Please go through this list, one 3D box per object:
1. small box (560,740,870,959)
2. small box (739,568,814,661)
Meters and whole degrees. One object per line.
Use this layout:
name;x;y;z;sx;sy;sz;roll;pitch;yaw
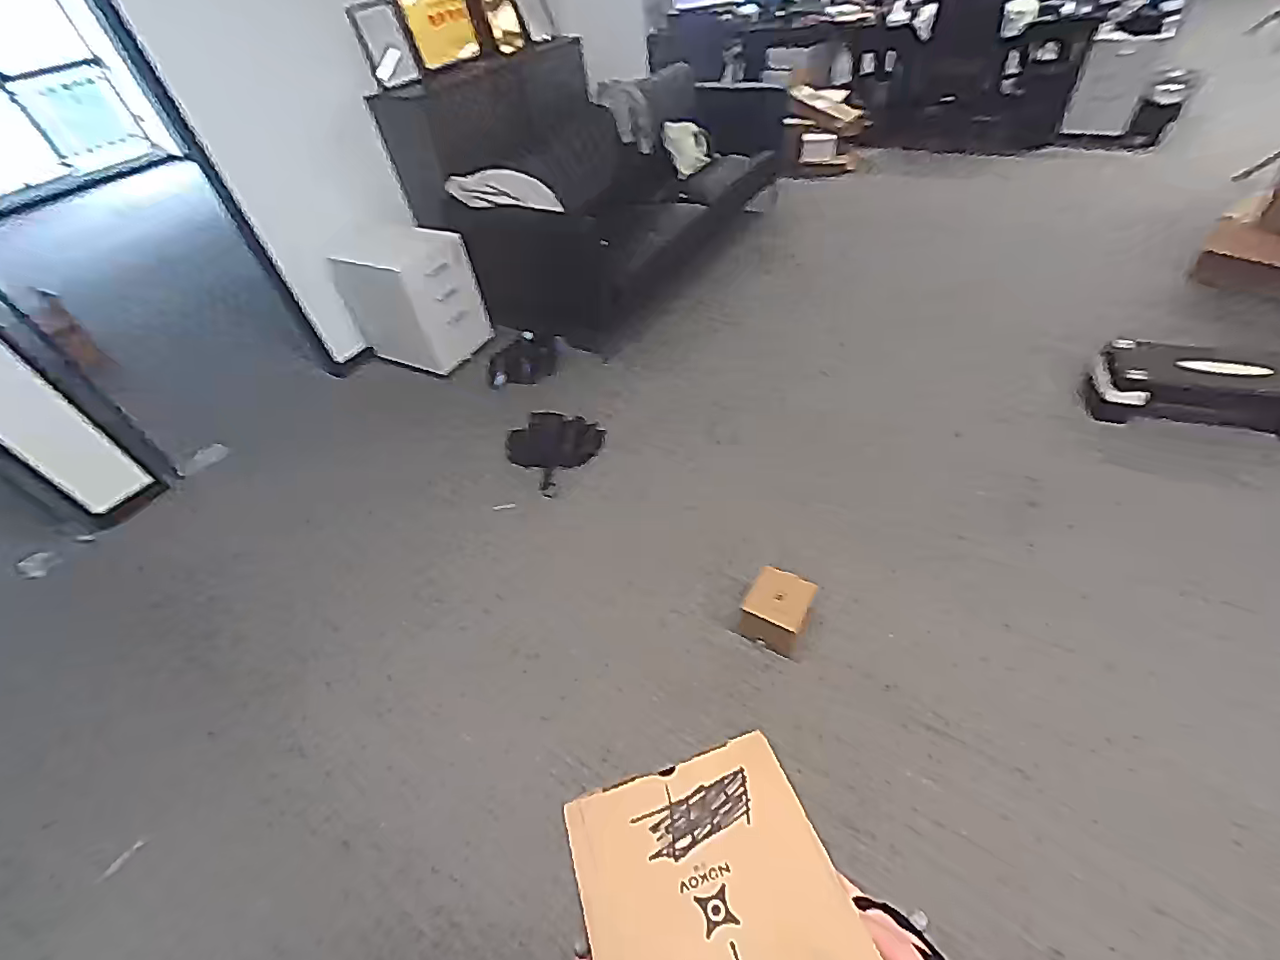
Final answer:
small box;0.047;0.338;0.401;0.168;0.176;0.179;-15;39;-13
small box;0.403;0.403;1.620;0.168;0.176;0.179;21;54;27
